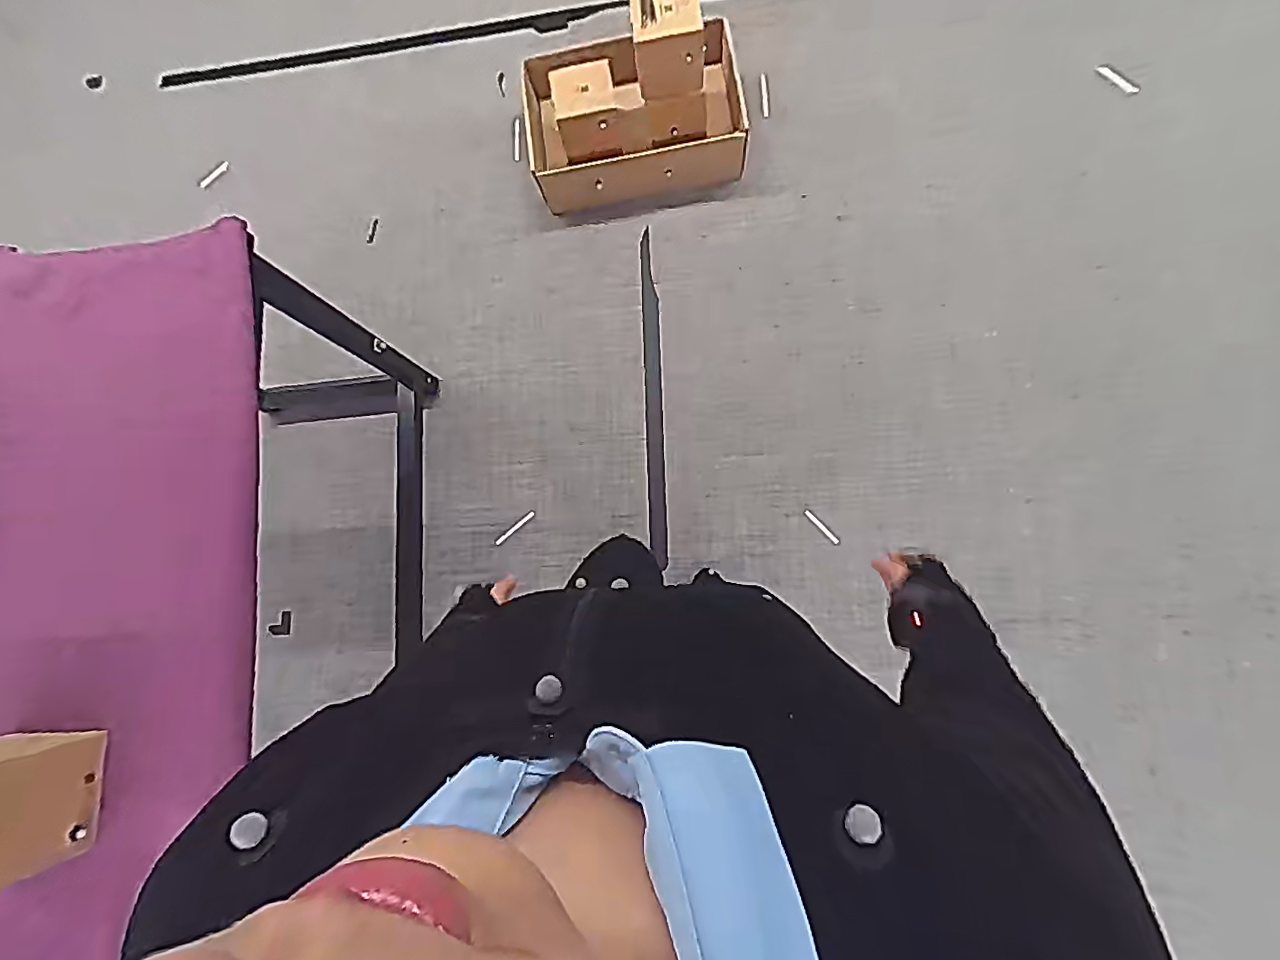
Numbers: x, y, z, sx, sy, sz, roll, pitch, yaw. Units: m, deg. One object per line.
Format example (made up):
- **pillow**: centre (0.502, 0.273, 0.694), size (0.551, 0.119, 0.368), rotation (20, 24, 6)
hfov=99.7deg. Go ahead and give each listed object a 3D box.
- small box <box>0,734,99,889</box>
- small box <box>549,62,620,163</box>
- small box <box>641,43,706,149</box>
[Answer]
- **small box**: centre (-0.905, 0.456, 0.738), size (0.179, 0.176, 0.168), rotation (-4, 80, 5)
- **small box**: centre (-0.157, -1.080, 1.599), size (0.179, 0.176, 0.168), rotation (-10, 79, 3)
- **small box**: centre (0.100, -1.116, 1.581), size (0.168, 0.176, 0.179), rotation (-8, 80, 6)
